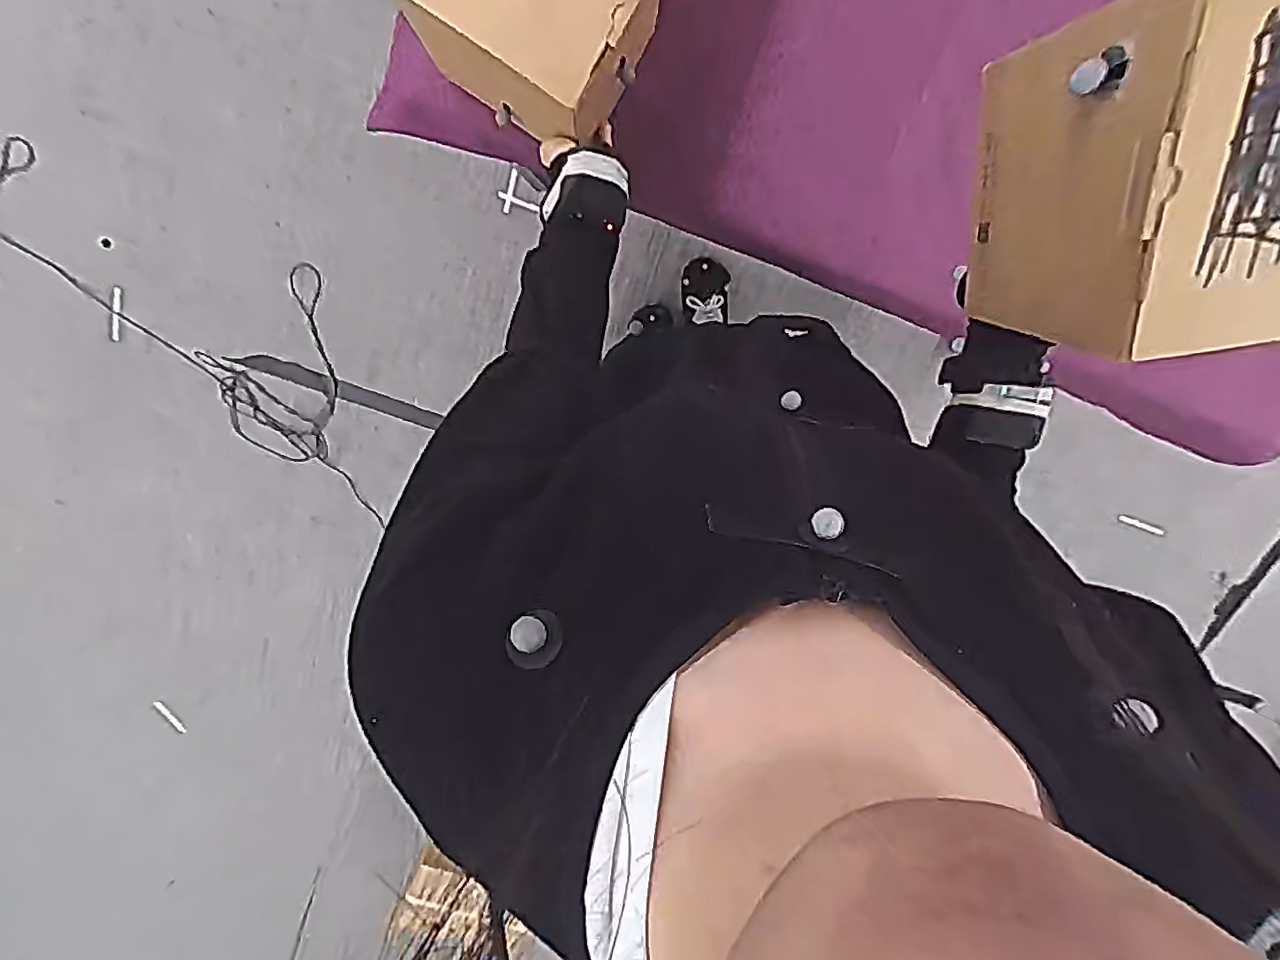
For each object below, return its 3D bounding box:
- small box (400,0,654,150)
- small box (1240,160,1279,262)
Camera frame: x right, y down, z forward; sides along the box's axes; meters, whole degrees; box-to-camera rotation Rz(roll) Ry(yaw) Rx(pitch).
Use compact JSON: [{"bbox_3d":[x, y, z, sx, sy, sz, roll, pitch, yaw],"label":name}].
[{"bbox_3d":[-0.094,-0.446,0.507,0.179,0.176,0.168,30,101,-13],"label":"small box"},{"bbox_3d":[0.825,-0.316,0.576,0.168,0.176,0.179,23,107,-8],"label":"small box"}]
